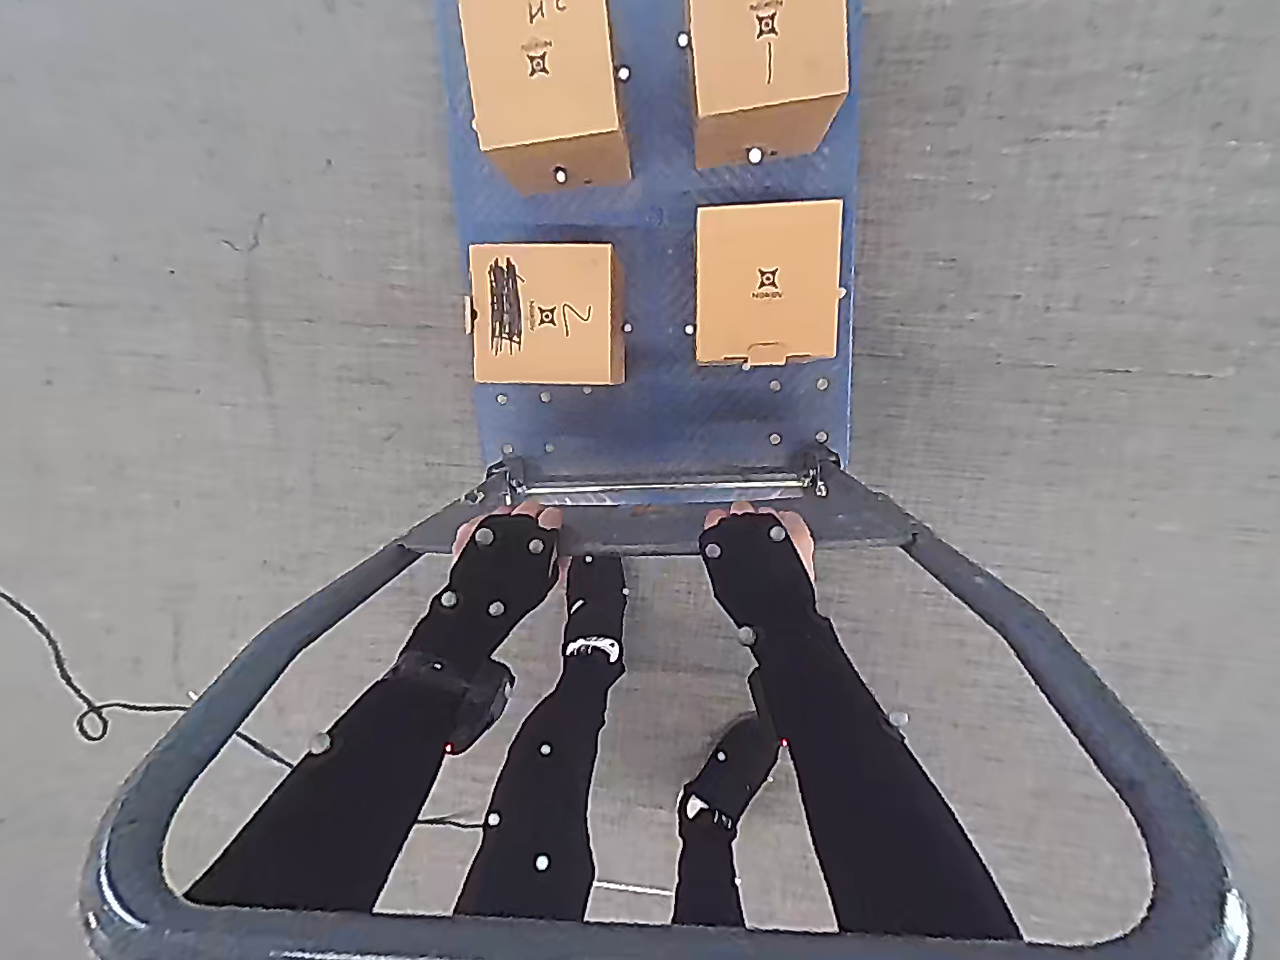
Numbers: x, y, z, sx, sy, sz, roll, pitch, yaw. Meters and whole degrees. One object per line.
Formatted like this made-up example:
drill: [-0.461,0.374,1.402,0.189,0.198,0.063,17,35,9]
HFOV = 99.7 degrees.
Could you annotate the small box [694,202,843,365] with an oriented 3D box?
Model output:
small box: [0.155,-0.243,0.710,0.168,0.176,0.179,-1,101,5]

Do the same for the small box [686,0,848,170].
small box: [0.144,-0.508,0.657,0.168,0.176,0.179,-5,102,6]

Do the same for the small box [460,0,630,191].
small box: [-0.107,-0.485,0.683,0.168,0.176,0.179,-5,101,5]
